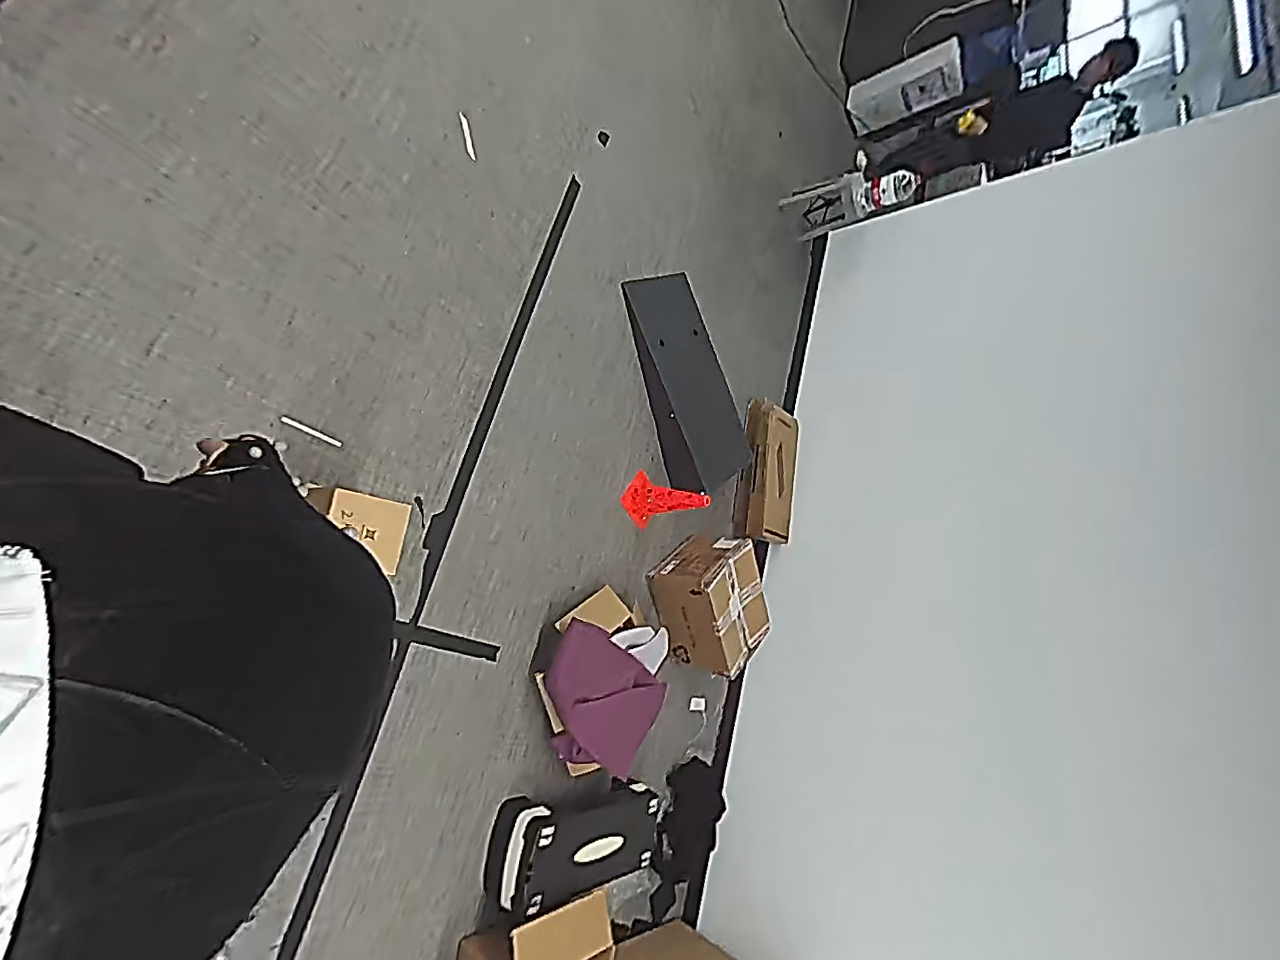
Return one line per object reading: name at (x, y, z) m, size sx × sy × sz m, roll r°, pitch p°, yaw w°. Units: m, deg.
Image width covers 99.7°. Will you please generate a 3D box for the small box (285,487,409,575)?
small box at (-0.665, 0.115, 1.230) m, size 0.179 × 0.176 × 0.168 m, roll 23°, pitch 71°, yaw -47°
